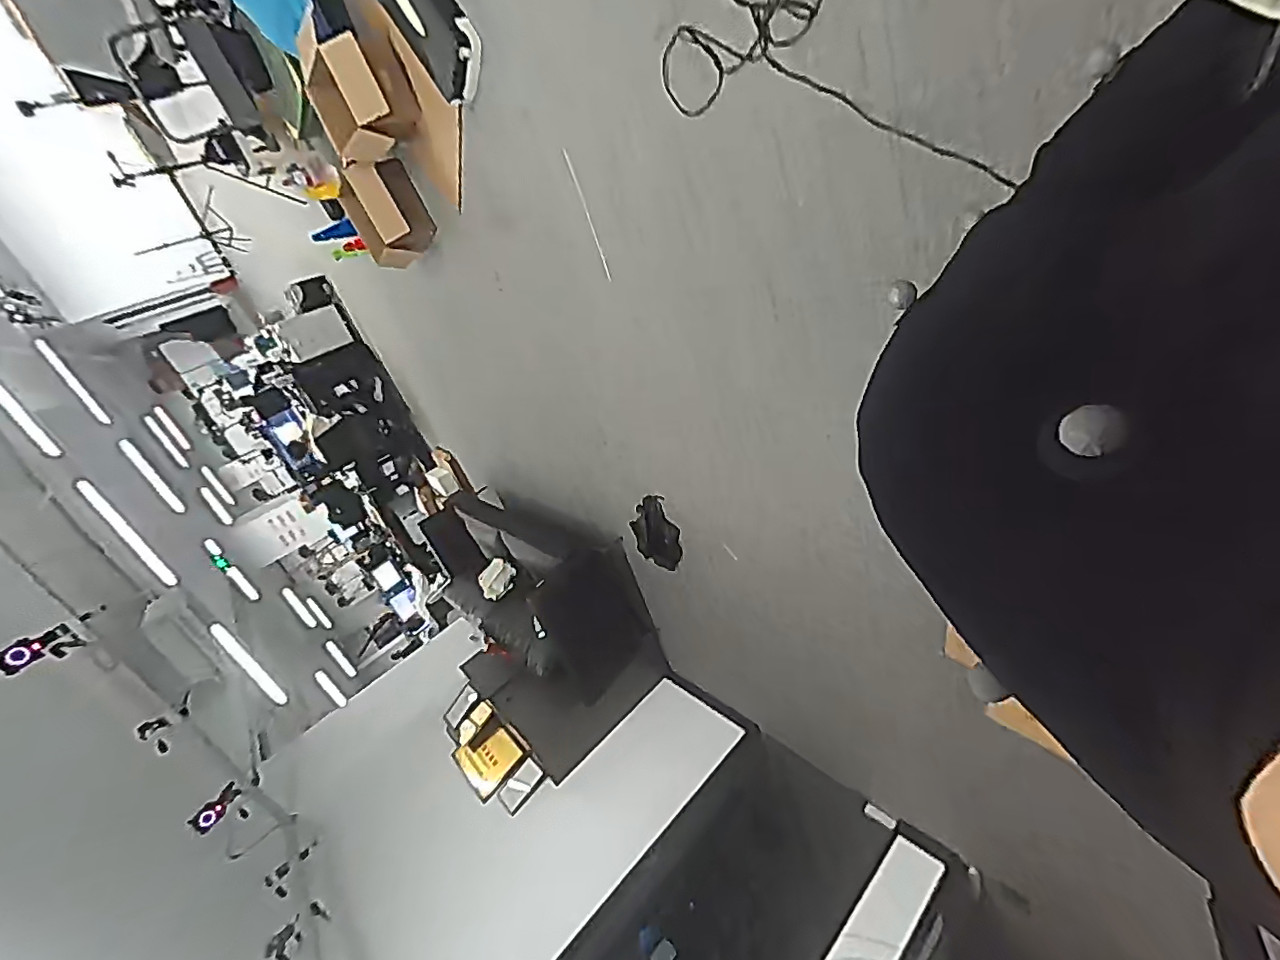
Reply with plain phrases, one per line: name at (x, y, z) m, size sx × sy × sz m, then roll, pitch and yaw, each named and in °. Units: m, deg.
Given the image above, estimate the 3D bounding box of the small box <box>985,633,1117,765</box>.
small box at (0.891, 0.465, 1.180) m, size 0.179 × 0.176 × 0.168 m, roll 22°, pitch 139°, yaw 44°
